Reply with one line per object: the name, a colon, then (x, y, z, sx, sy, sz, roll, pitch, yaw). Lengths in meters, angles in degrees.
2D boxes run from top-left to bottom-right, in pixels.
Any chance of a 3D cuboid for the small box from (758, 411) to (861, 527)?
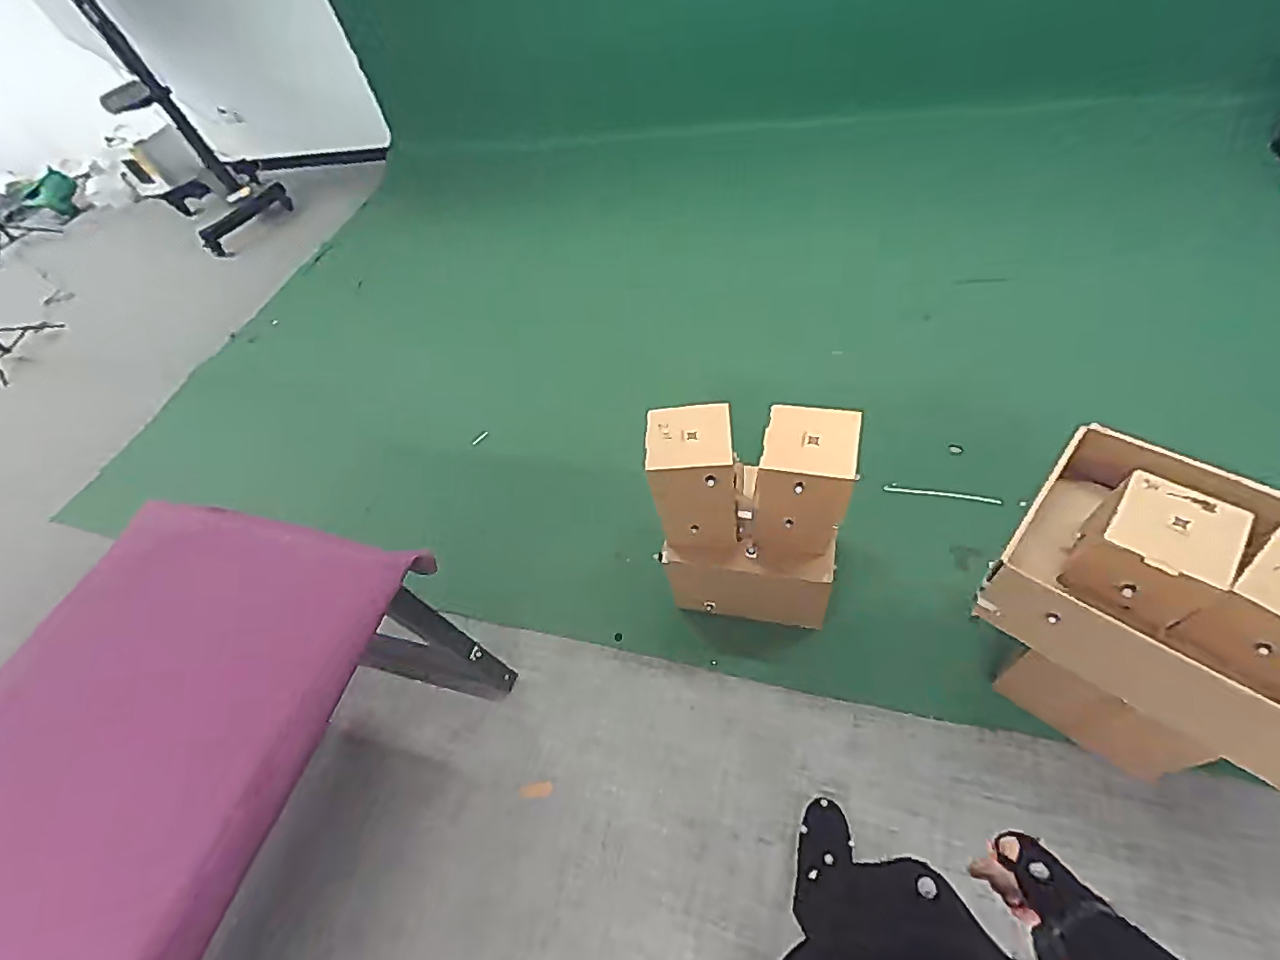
small box: (0.347, -0.019, 1.114, 0.179, 0.176, 0.168, 7, 57, 19)
